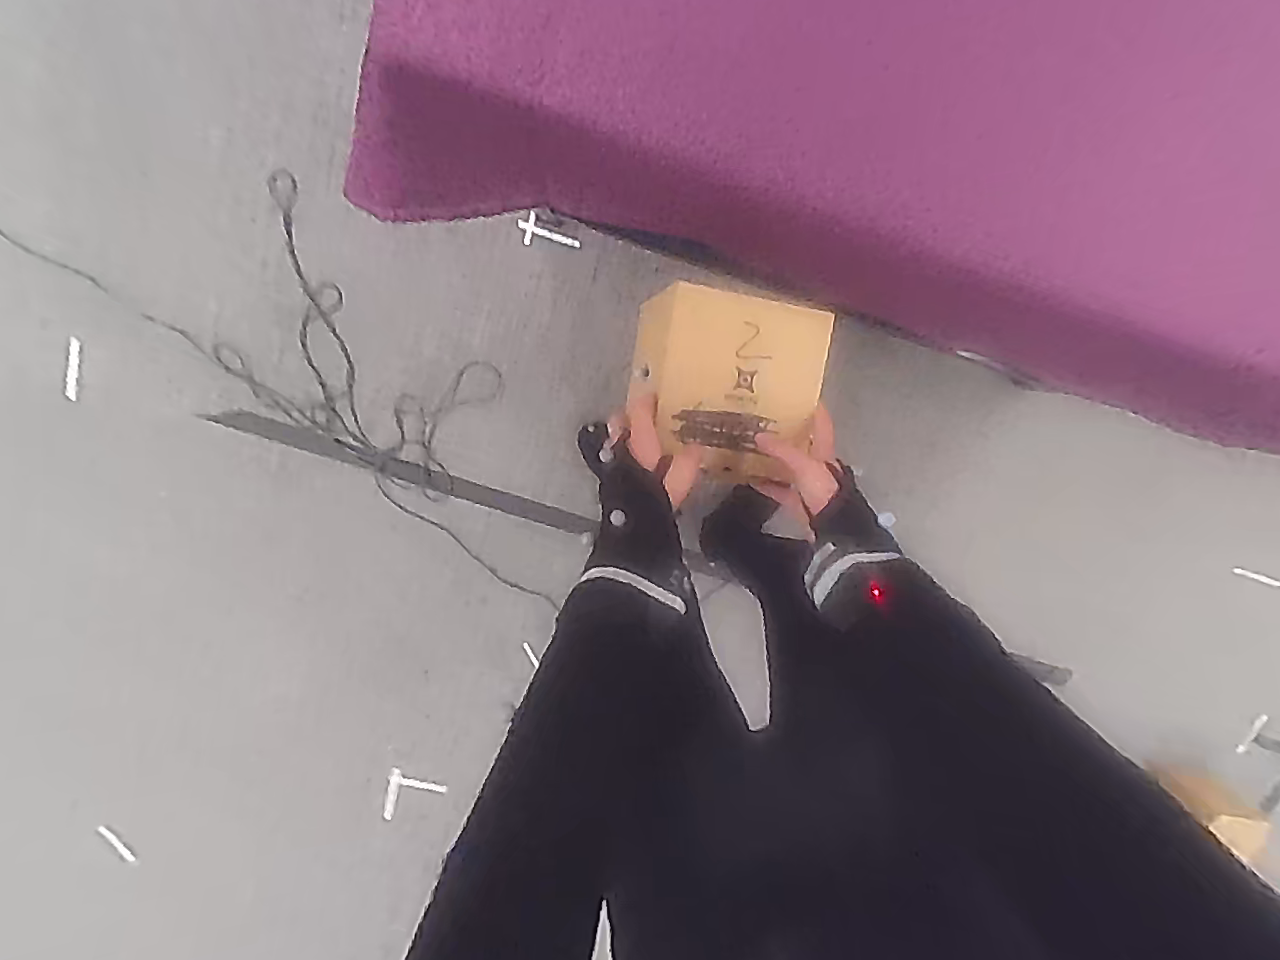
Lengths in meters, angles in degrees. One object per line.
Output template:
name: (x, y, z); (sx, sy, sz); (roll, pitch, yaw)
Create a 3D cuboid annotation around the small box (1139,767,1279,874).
small box: (1.531, 0.910, 1.459); (0.179, 0.176, 0.168); (14, 104, -4)
